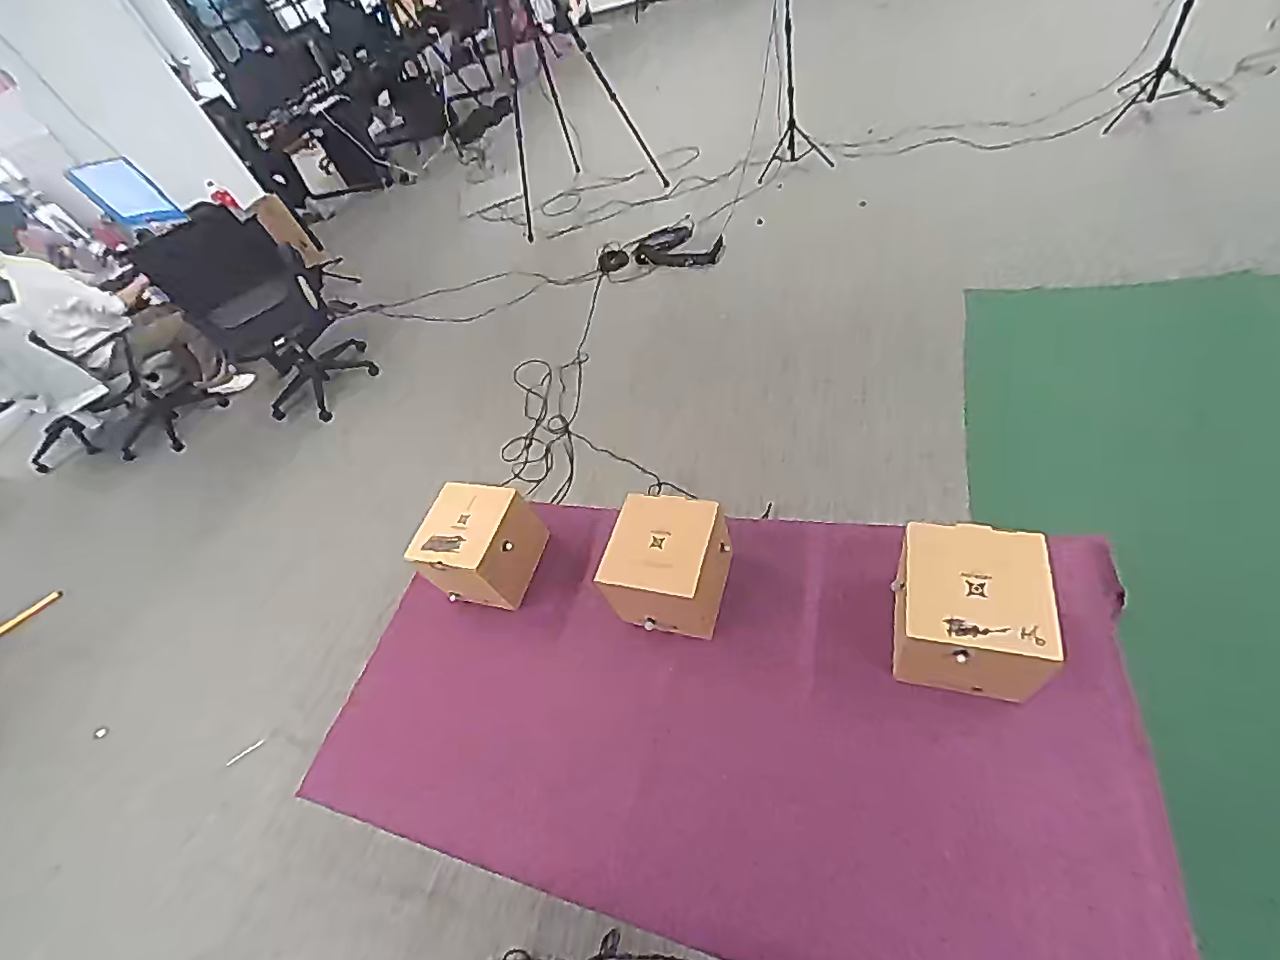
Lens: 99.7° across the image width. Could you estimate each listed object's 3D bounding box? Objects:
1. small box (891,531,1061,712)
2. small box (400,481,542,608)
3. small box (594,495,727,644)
[{"bbox_3d":[0.450,0.197,0.754,0.168,0.176,0.179,5,55,21],"label":"small box"},{"bbox_3d":[-0.310,0.125,1.036,0.168,0.176,0.179,6,56,20],"label":"small box"},{"bbox_3d":[0.047,0.151,0.914,0.168,0.176,0.179,7,56,22],"label":"small box"}]
